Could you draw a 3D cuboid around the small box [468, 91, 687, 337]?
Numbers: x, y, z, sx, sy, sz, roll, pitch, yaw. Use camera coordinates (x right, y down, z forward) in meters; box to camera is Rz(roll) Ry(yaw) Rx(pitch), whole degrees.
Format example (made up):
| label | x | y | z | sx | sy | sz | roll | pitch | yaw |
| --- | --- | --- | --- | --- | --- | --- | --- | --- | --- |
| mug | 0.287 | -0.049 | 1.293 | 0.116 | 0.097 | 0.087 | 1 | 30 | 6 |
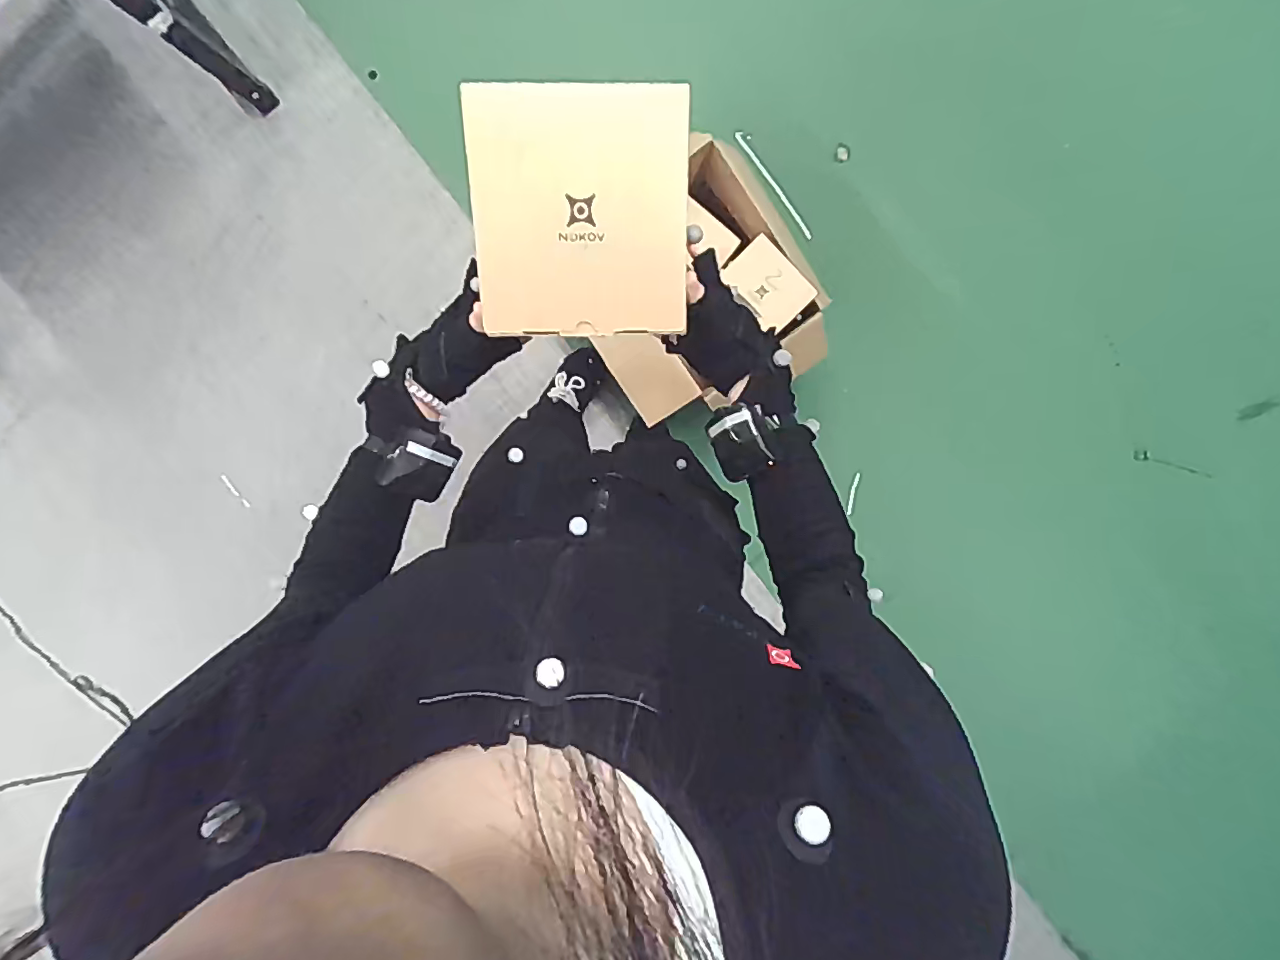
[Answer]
| label | x | y | z | sx | sy | sz | roll | pitch | yaw |
| --- | --- | --- | --- | --- | --- | --- | --- | --- | --- |
| small box | -0.052 | -0.228 | 0.501 | 0.168 | 0.176 | 0.179 | -1 | 110 | -3 |
